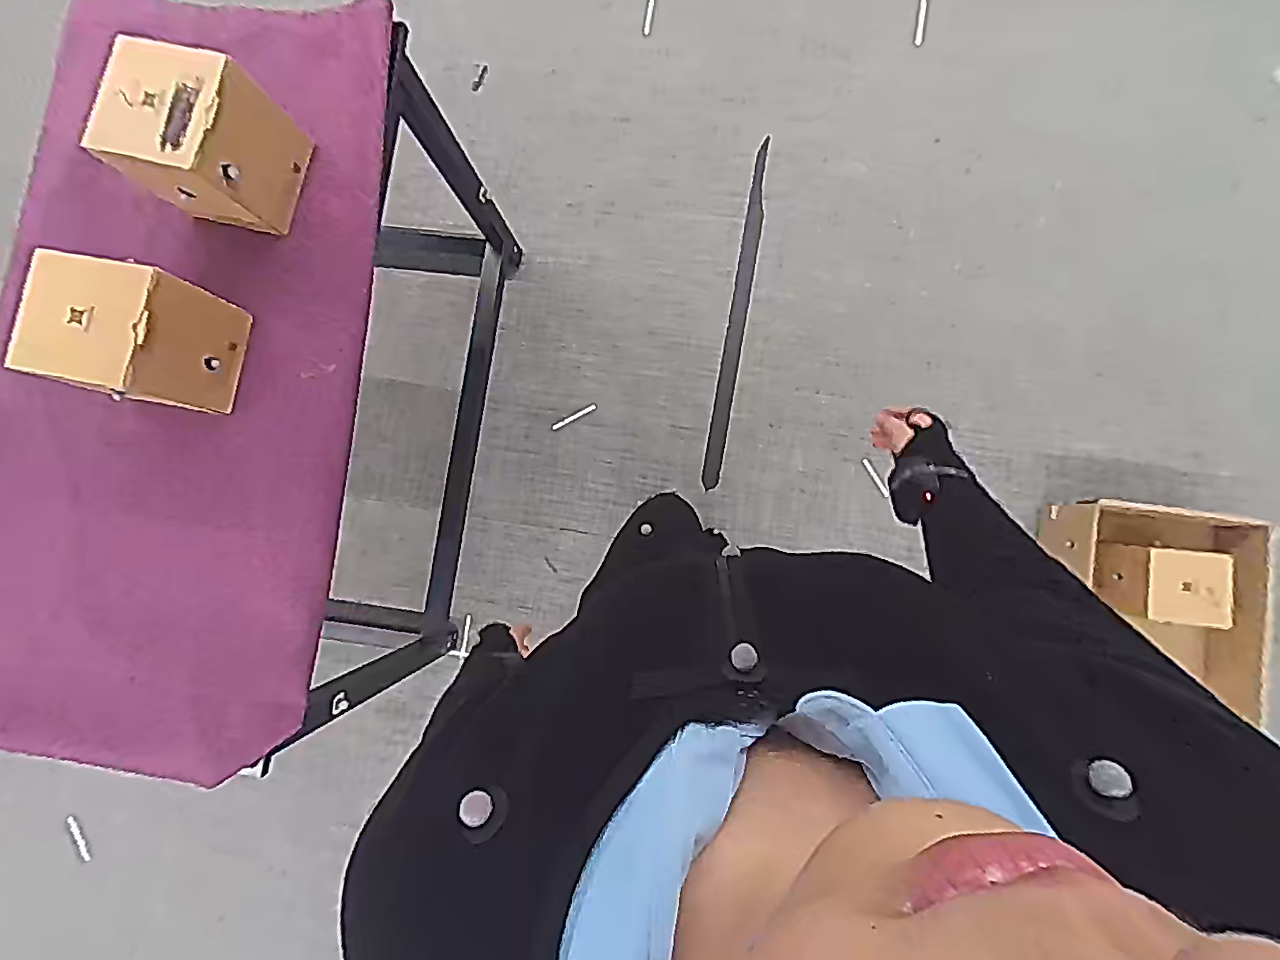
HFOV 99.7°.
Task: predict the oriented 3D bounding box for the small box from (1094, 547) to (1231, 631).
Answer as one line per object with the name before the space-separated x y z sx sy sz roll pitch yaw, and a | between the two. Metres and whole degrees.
small box | 1.239 0.254 1.296 0.179 0.176 0.168 6 87 4

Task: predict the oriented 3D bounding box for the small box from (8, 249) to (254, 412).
small box | -0.715 -0.204 0.780 0.179 0.176 0.168 10 86 4
